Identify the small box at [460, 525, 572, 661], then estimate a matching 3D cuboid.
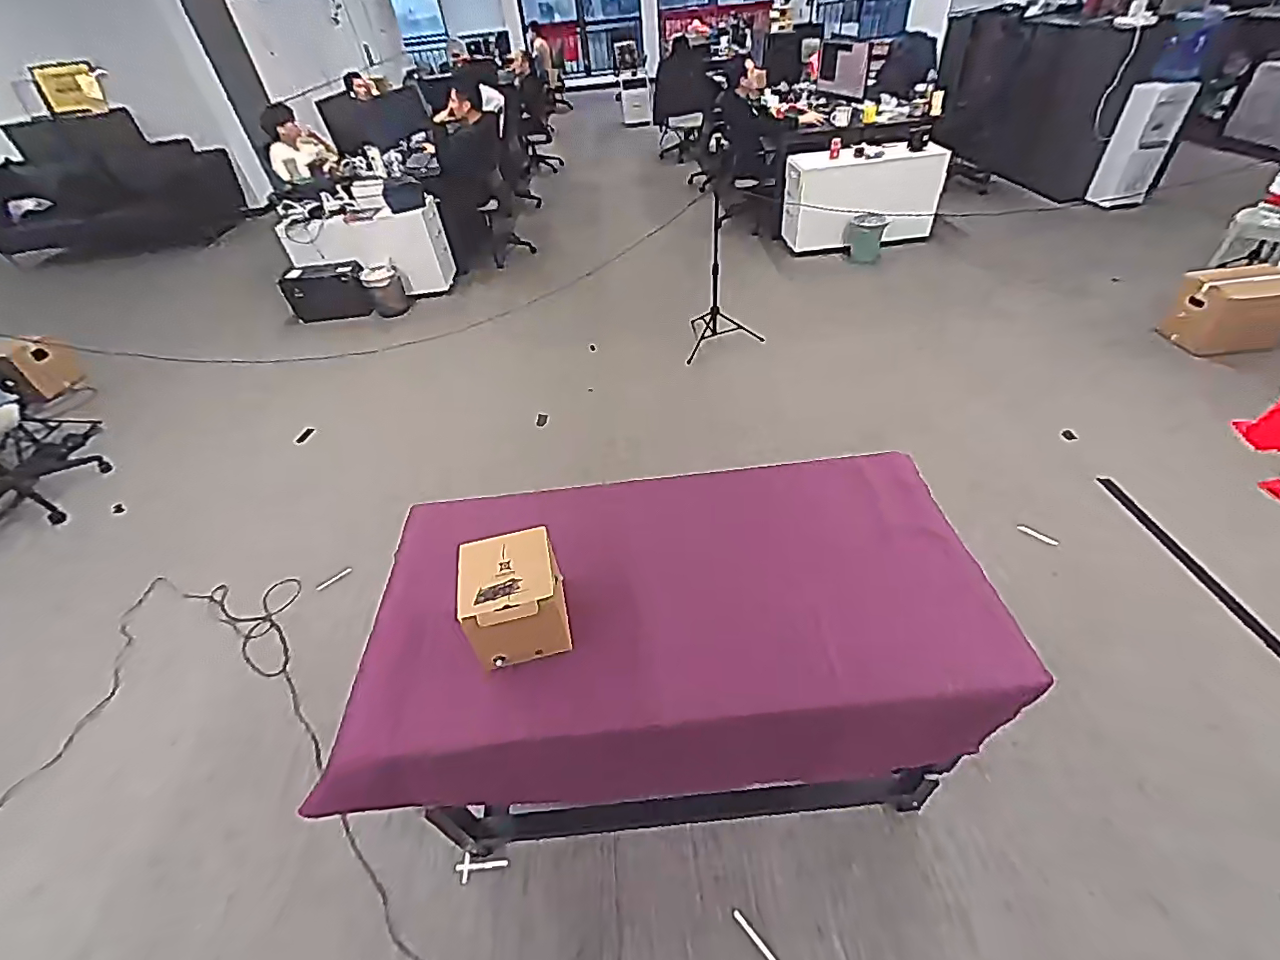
[{"bbox_3d":[-0.228,0.216,1.009,0.168,0.176,0.179,-12,42,-6],"label":"small box"}]
